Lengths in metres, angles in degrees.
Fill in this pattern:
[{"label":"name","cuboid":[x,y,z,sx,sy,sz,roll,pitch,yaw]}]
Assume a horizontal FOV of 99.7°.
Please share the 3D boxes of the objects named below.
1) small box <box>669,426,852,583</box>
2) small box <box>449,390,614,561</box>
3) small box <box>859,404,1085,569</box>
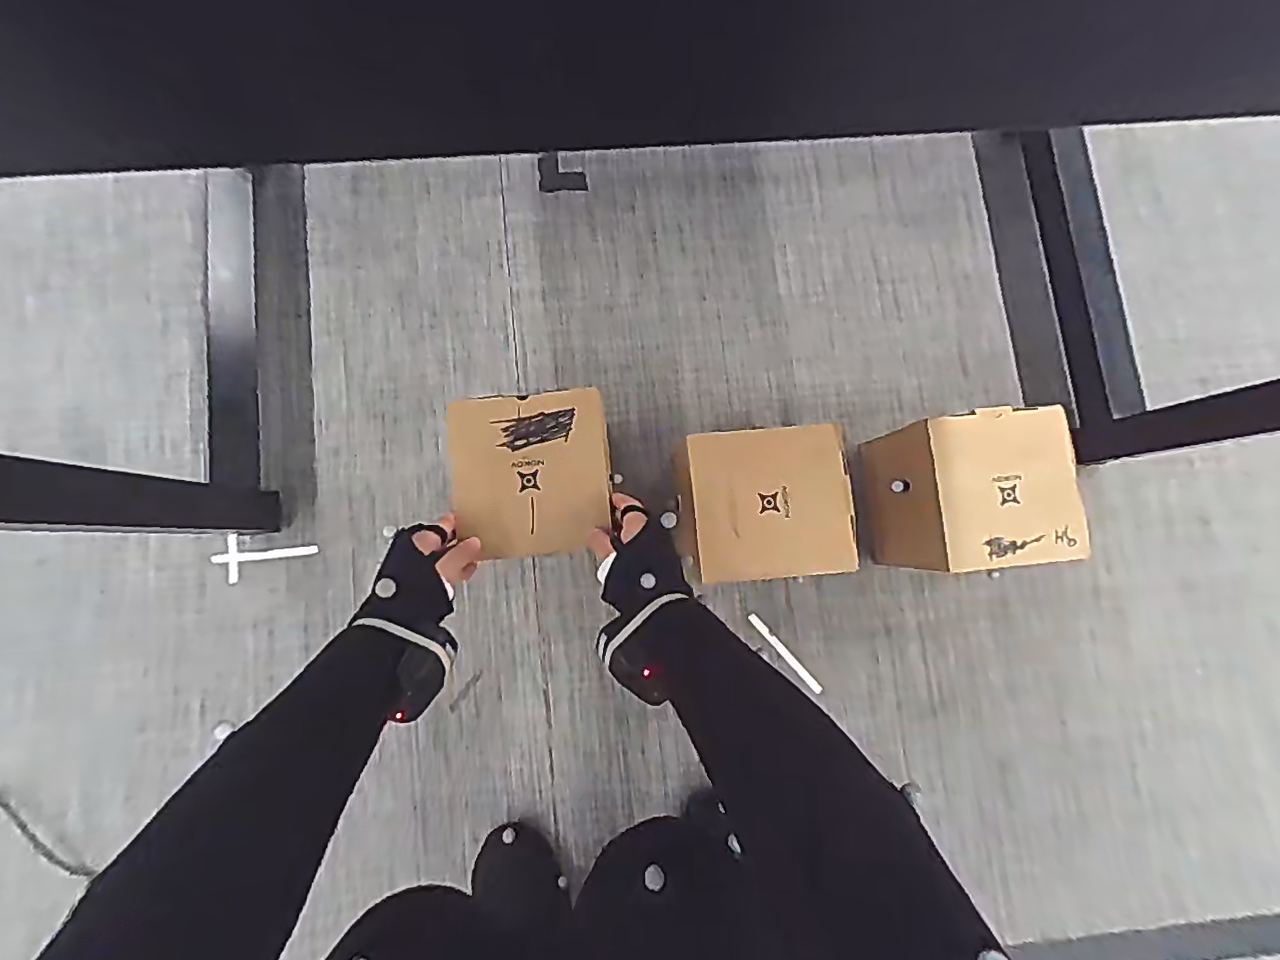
[{"label":"small box","cuboid":[0.136,0.033,0.671,0.179,0.176,0.168,-5,83,-2]},{"label":"small box","cuboid":[-0.121,0.003,0.659,0.168,0.176,0.179,-6,84,-2]},{"label":"small box","cuboid":[0.398,0.017,0.682,0.168,0.176,0.179,-6,83,-3]}]
